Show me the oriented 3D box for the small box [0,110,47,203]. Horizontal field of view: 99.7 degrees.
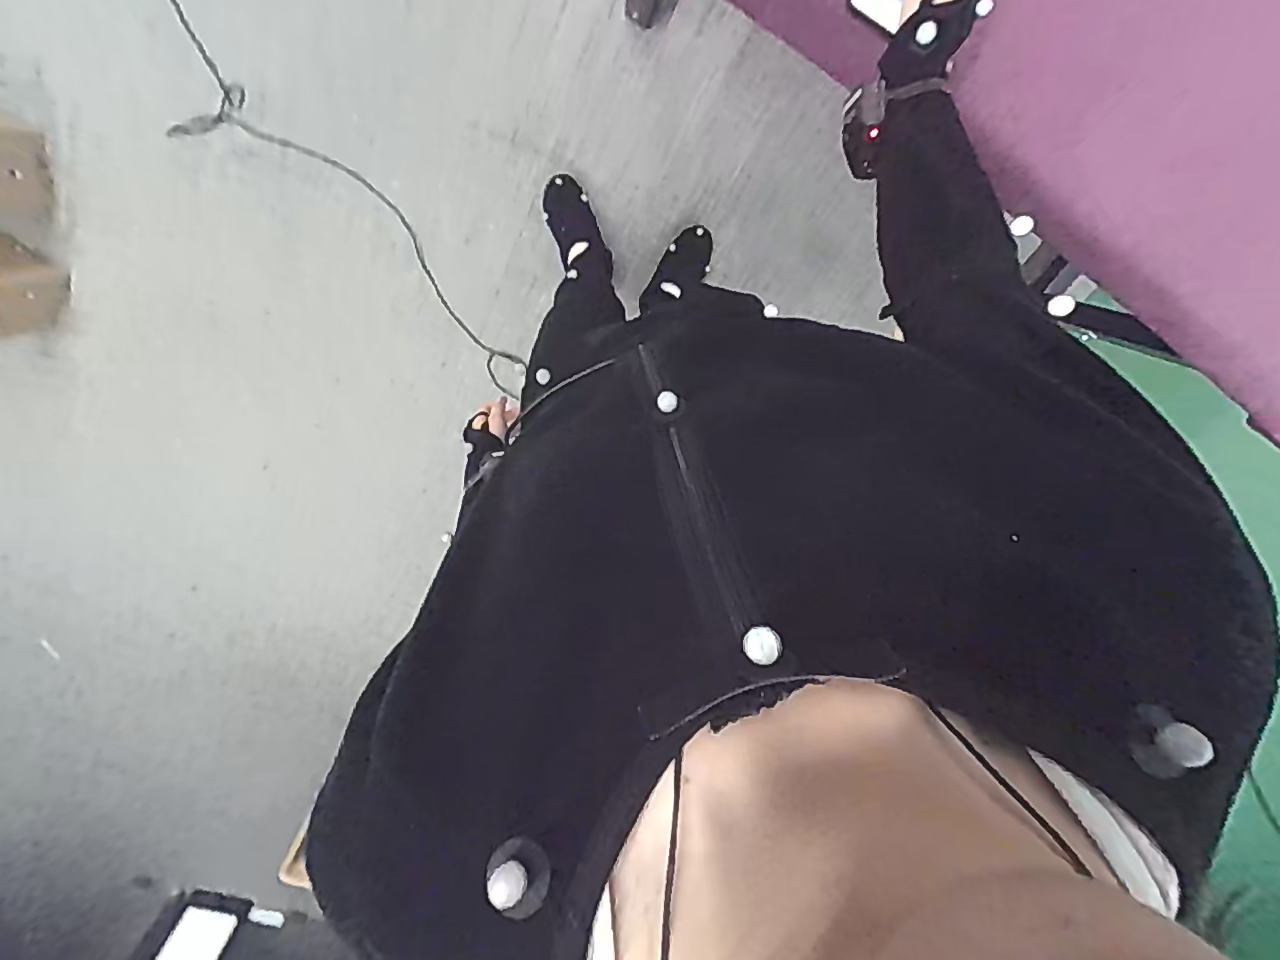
[{"bbox_3d":[-1.419,-0.703,1.141,0.179,0.176,0.168,19,117,-10],"label":"small box"}]
